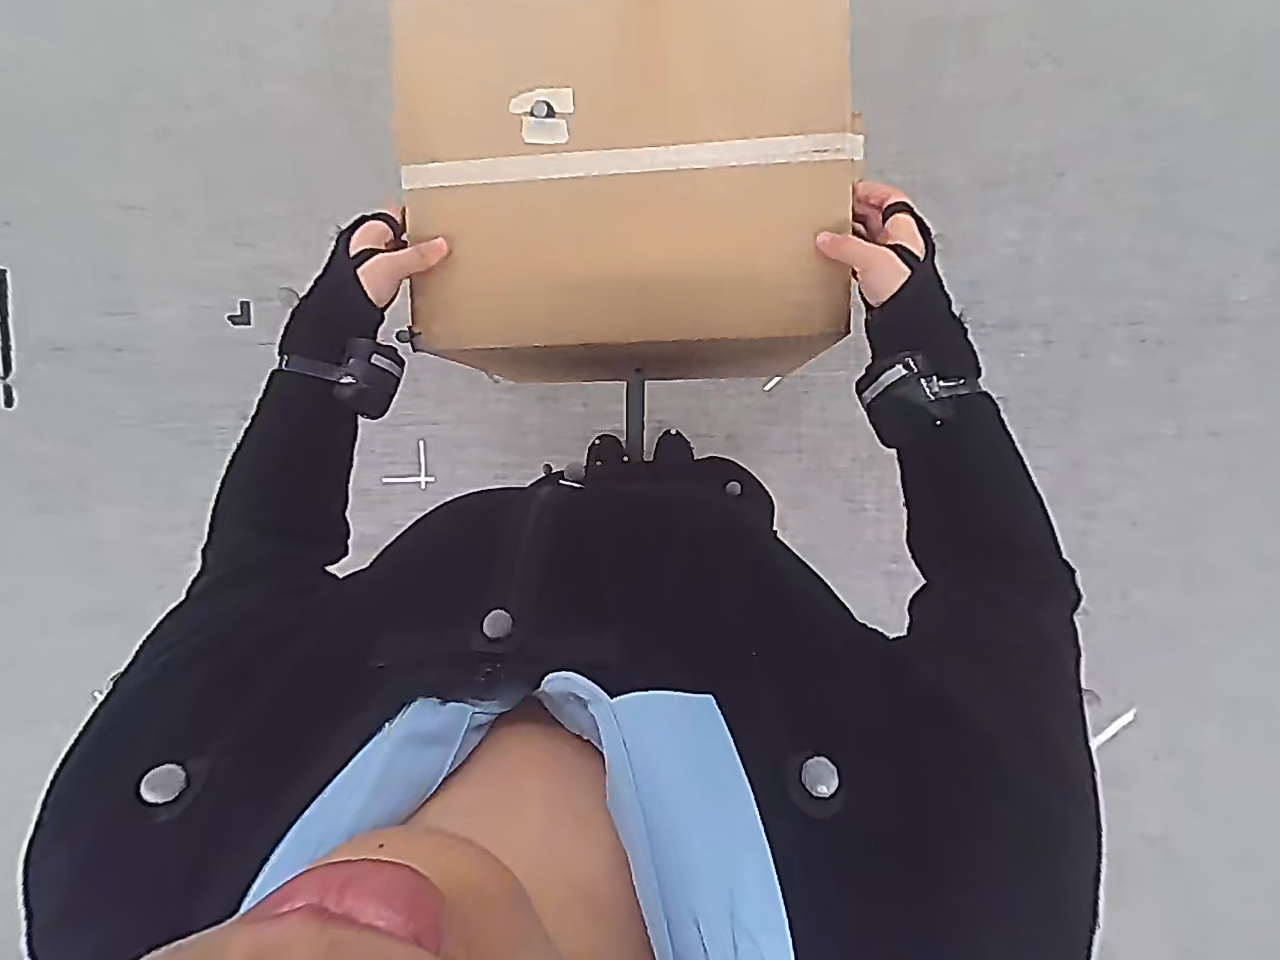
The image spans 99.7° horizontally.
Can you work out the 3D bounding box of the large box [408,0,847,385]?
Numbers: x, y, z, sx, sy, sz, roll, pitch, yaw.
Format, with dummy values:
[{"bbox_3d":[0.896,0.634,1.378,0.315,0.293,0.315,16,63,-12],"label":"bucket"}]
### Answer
[{"bbox_3d":[0.000,-0.290,0.644,0.408,0.320,0.320,-1,92,6],"label":"large box"}]
